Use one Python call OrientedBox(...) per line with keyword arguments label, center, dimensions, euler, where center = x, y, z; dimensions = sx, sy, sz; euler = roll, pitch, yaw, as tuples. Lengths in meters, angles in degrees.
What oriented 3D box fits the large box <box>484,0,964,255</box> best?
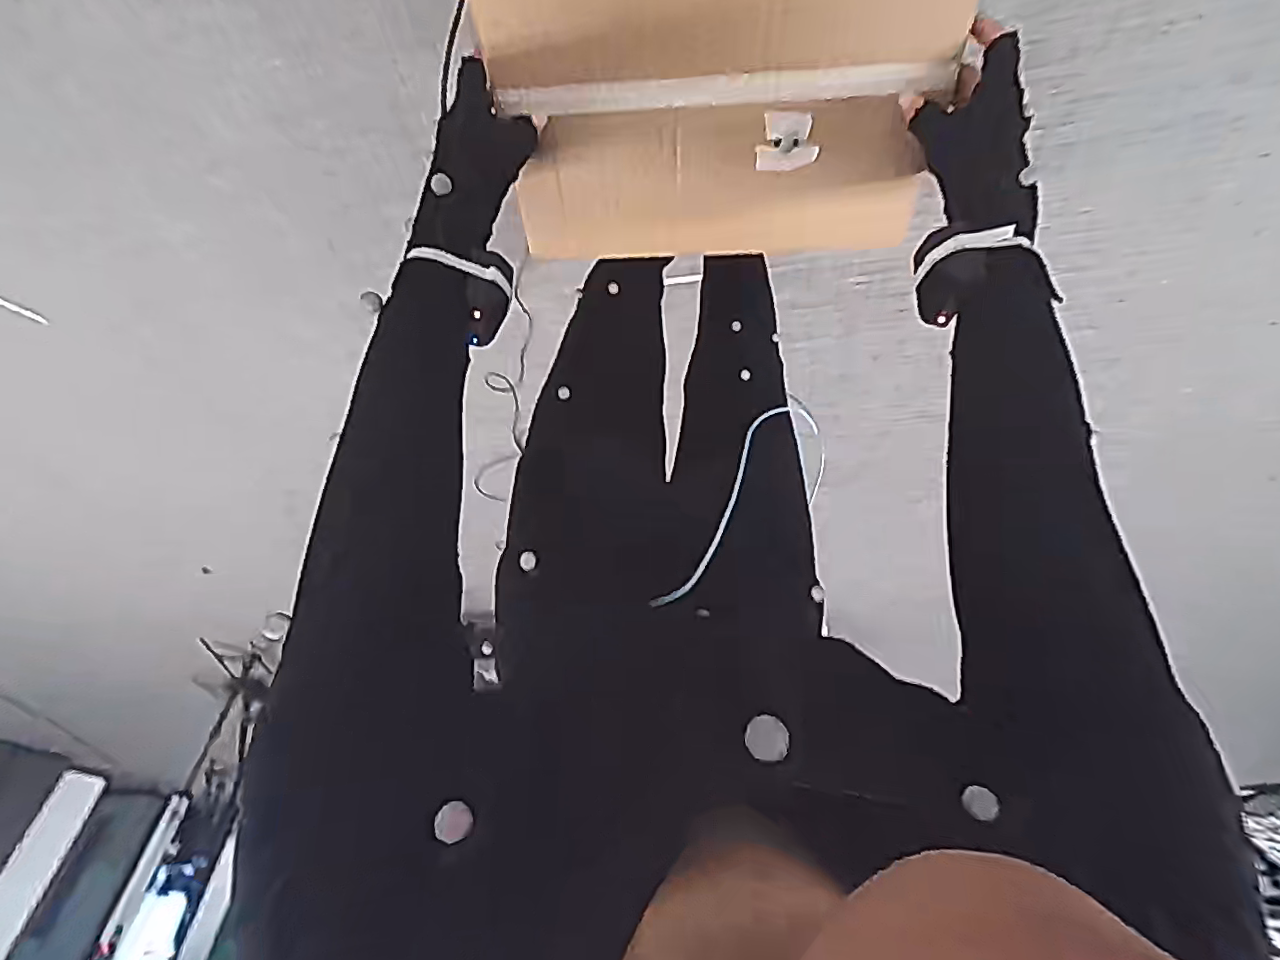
OrientedBox(label="large box", center=(0.076, -0.478, 0.591), dimensions=(0.408, 0.320, 0.320), euler=(0, 142, 4))
